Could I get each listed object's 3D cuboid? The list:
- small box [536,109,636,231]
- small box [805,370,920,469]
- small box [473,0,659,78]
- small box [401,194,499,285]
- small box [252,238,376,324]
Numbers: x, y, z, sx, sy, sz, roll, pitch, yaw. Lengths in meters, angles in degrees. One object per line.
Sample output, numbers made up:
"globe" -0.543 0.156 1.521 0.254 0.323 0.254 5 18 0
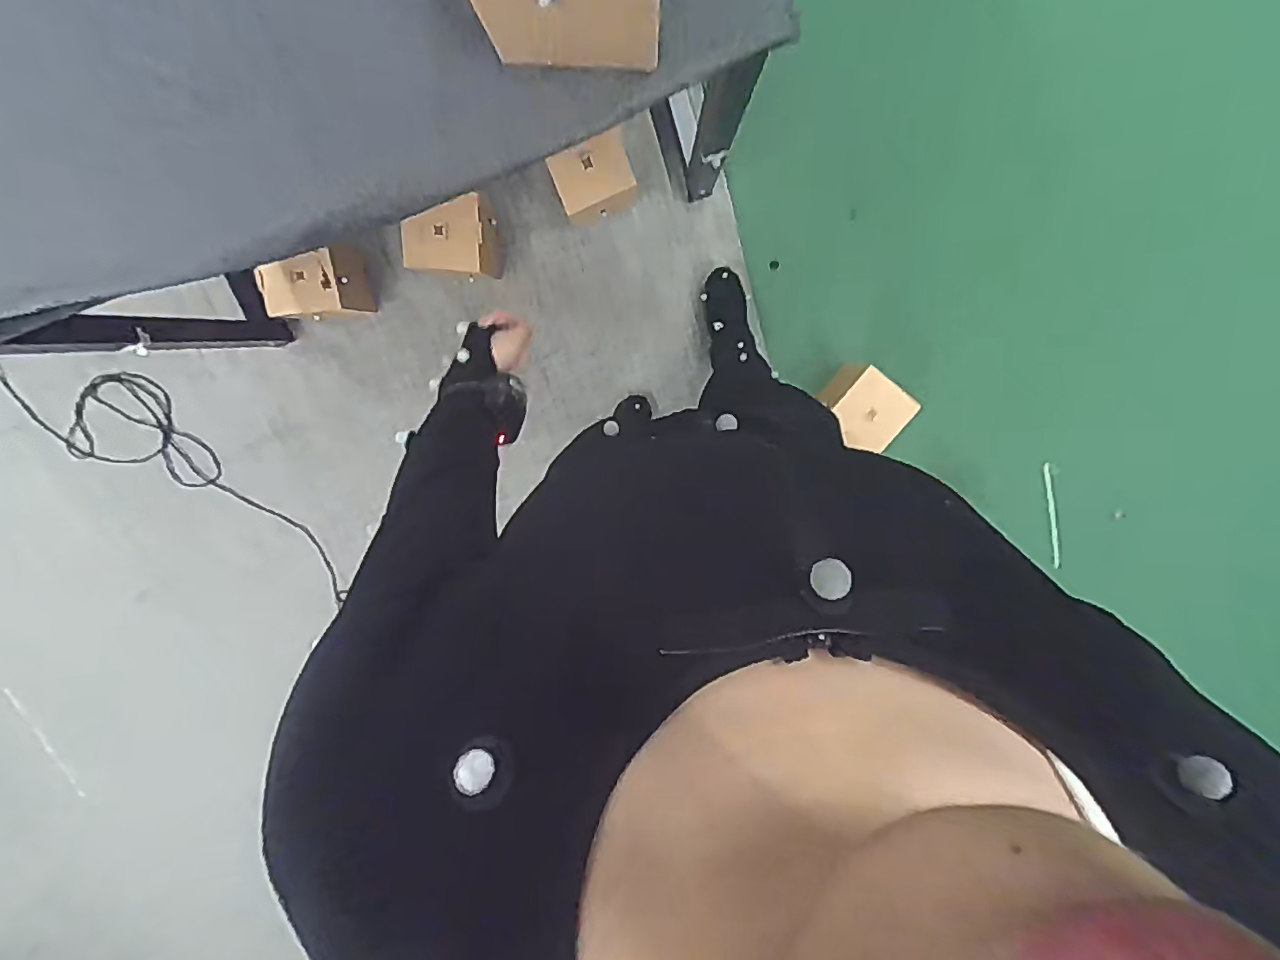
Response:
"small box" -0.113 -0.685 1.223 0.168 0.176 0.179 -22 103 6
"small box" 0.543 -0.159 1.349 0.168 0.176 0.179 36 103 -8
"small box" -0.069 -0.515 0.510 0.179 0.176 0.168 4 102 1
"small box" -0.434 -0.554 1.264 0.179 0.176 0.168 3 104 2
"small box" -0.770 -0.468 1.293 0.179 0.176 0.168 -5 104 3
